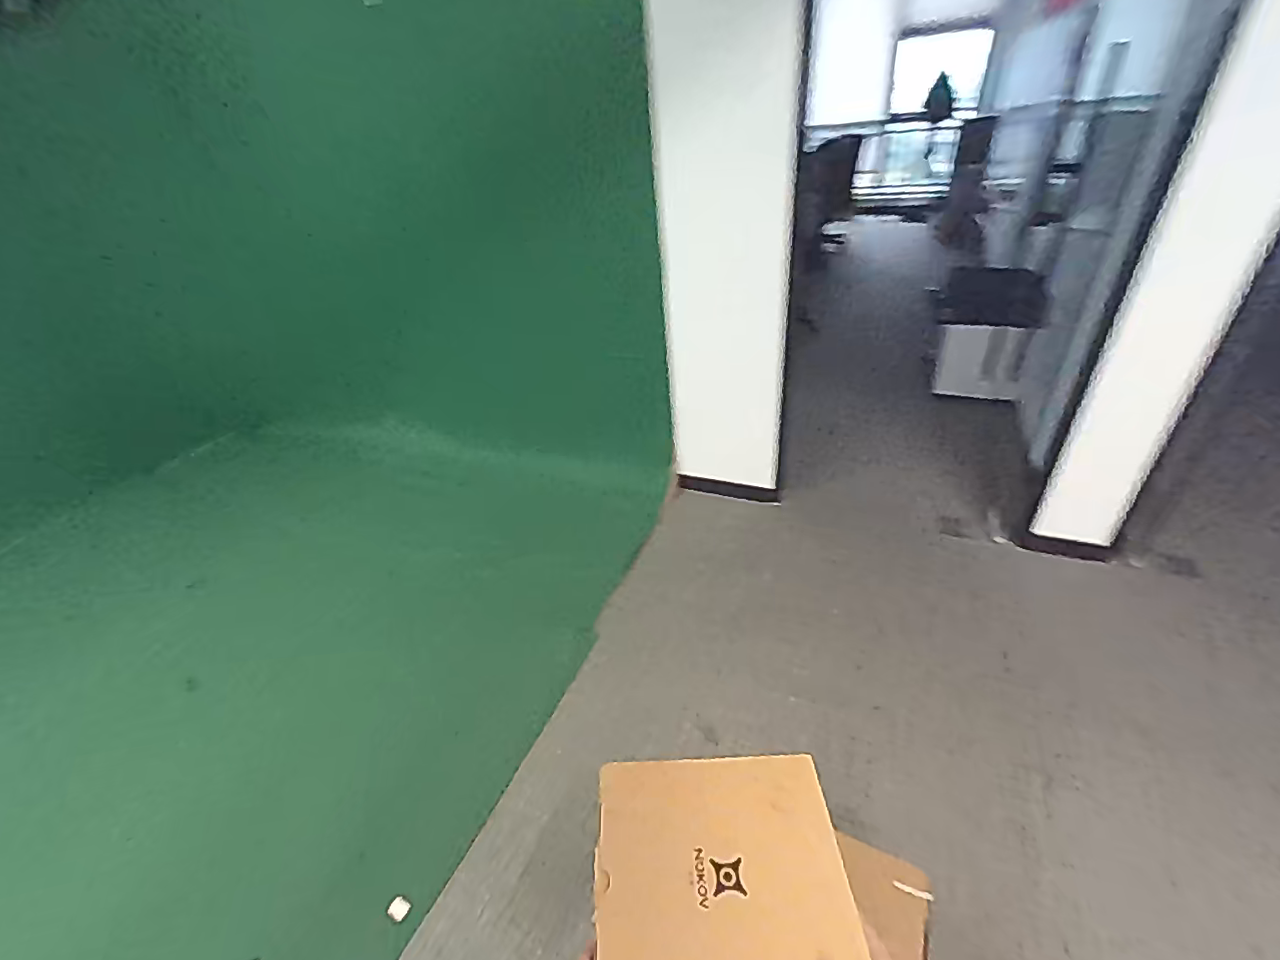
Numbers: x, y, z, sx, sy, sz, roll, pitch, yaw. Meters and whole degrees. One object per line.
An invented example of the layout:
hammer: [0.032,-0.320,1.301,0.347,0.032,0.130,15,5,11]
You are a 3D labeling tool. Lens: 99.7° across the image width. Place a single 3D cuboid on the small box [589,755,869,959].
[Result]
small box: [0.055,0.338,0.415,0.179,0.176,0.168,-3,34,-1]
